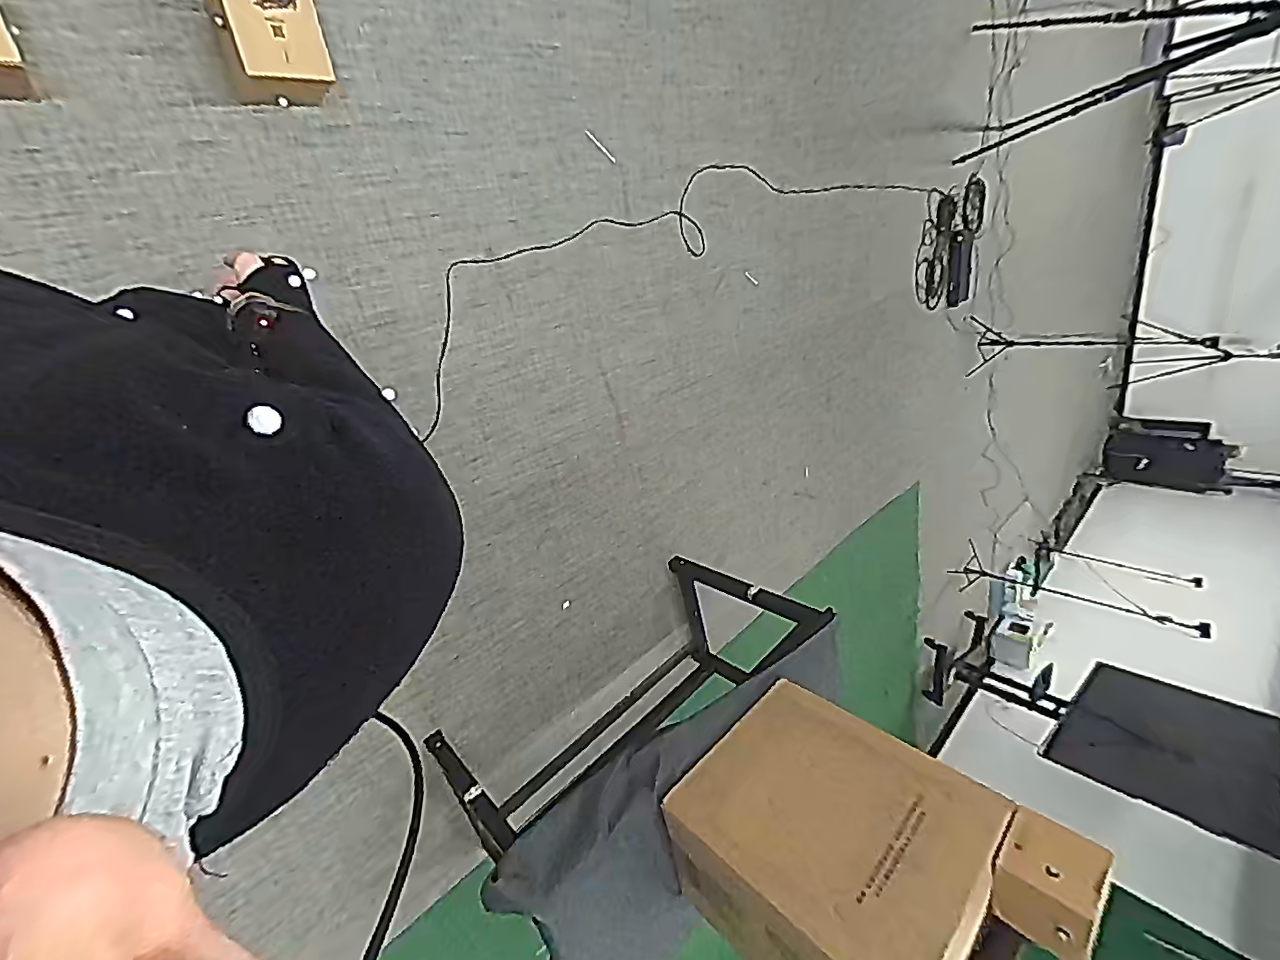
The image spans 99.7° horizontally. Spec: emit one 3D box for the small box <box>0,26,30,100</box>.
[{"bbox_3d":[-1.136,-0.732,0.859,0.168,0.176,0.179,-25,116,-35],"label":"small box"}]

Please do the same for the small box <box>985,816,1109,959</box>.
[{"bbox_3d":[0.841,0.846,1.126,0.168,0.176,0.179,-27,118,-34],"label":"small box"}]

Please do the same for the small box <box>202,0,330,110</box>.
[{"bbox_3d":[-0.781,-0.904,1.127,0.168,0.176,0.179,-24,117,-34],"label":"small box"}]
